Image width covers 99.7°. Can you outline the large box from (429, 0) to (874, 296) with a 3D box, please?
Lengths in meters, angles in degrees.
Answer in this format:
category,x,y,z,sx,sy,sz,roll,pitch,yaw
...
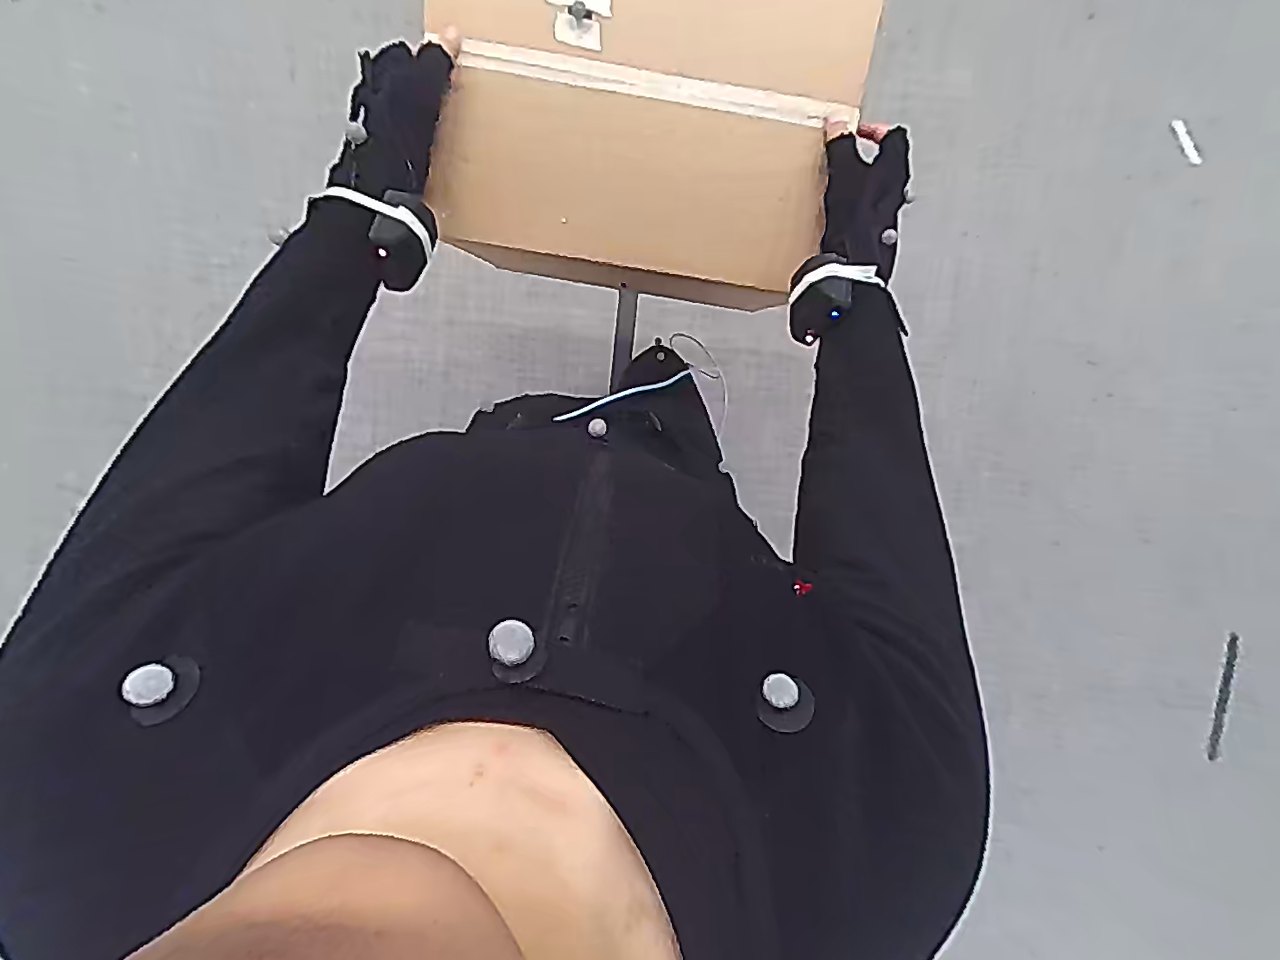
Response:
category,x,y,z,sx,sy,sz,roll,pitch,yaw
large box,0.007,-0.414,0.653,0.408,0.320,0.320,9,104,-2
